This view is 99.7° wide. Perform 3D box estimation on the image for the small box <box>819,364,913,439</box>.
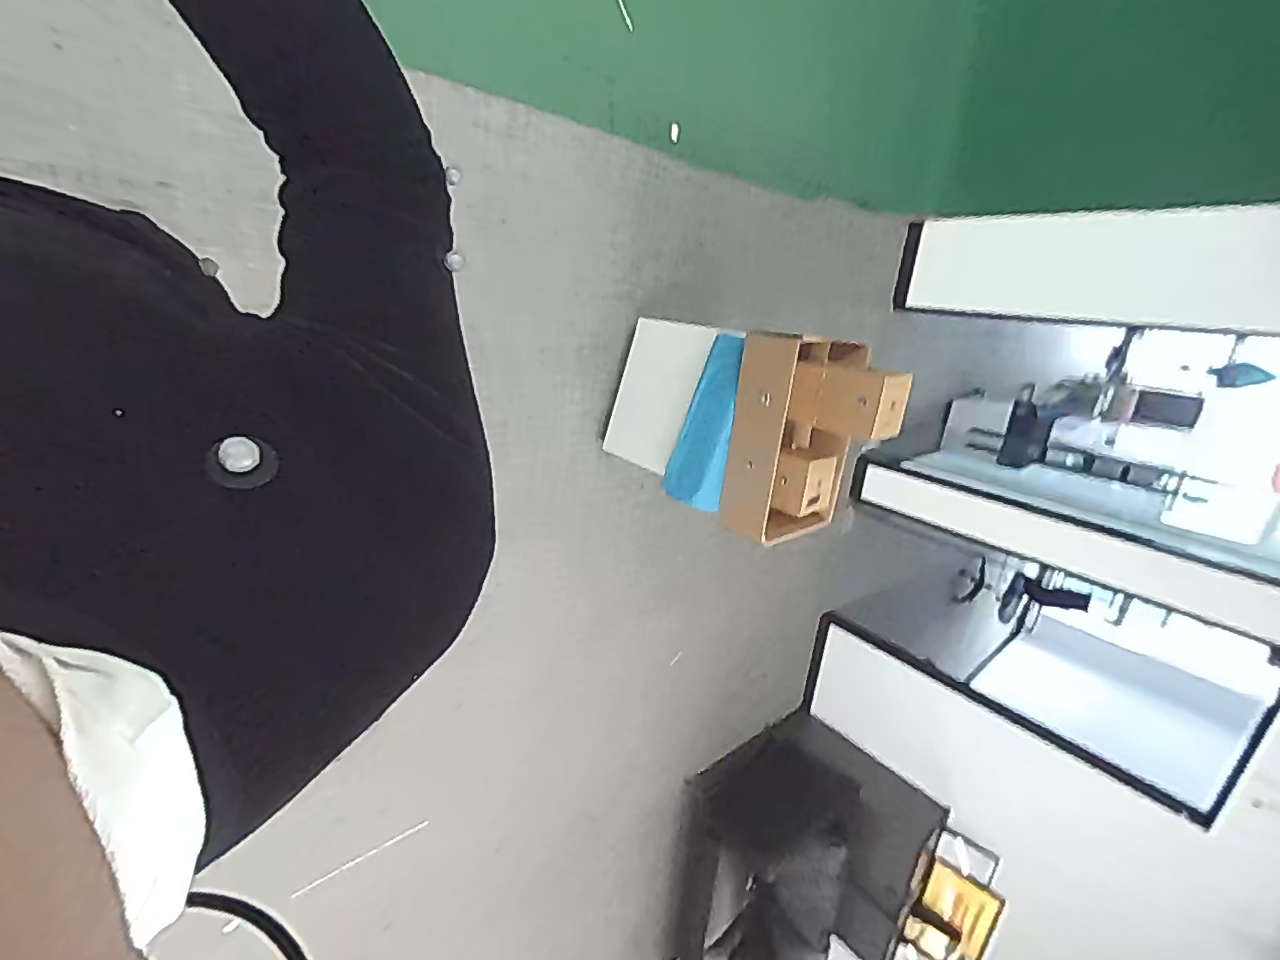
[{"bbox_3d":[0.624,-0.227,1.505,0.168,0.176,0.179,-12,117,-39],"label":"small box"}]
